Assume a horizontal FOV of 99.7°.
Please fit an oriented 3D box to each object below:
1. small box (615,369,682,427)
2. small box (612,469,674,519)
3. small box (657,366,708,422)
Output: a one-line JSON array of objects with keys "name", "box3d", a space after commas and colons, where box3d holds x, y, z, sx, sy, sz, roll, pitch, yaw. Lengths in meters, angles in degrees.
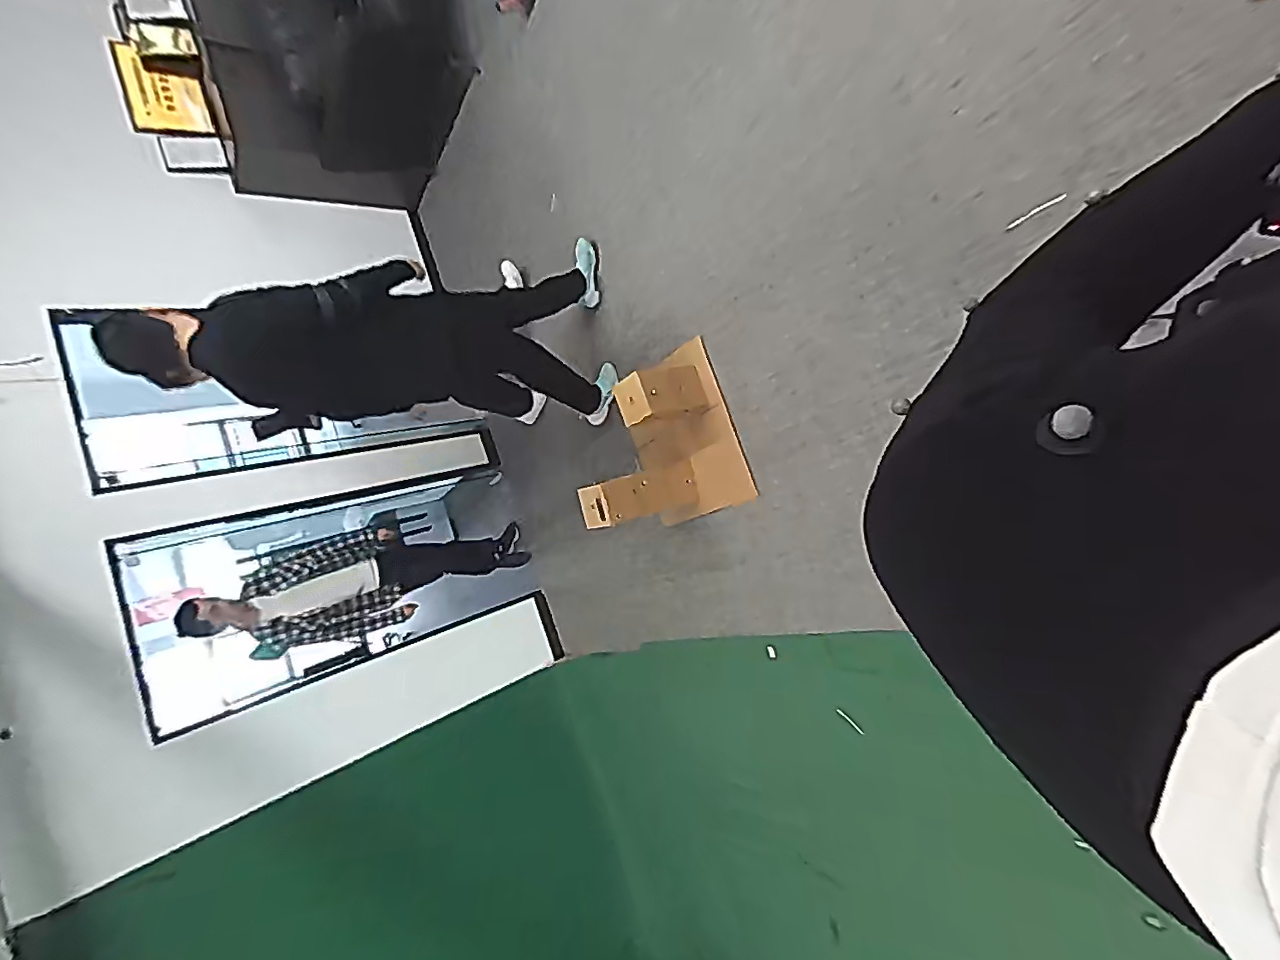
[{"name": "small box", "box3d": [0.035, -0.323, 2.110, 0.168, 0.176, 0.179, -25, 84, 50]}, {"name": "small box", "box3d": [0.014, 0.055, 2.250, 0.168, 0.176, 0.179, -13, 92, 52]}, {"name": "small box", "box3d": [0.151, -0.355, 2.218, 0.168, 0.176, 0.179, -24, 84, 50]}]
